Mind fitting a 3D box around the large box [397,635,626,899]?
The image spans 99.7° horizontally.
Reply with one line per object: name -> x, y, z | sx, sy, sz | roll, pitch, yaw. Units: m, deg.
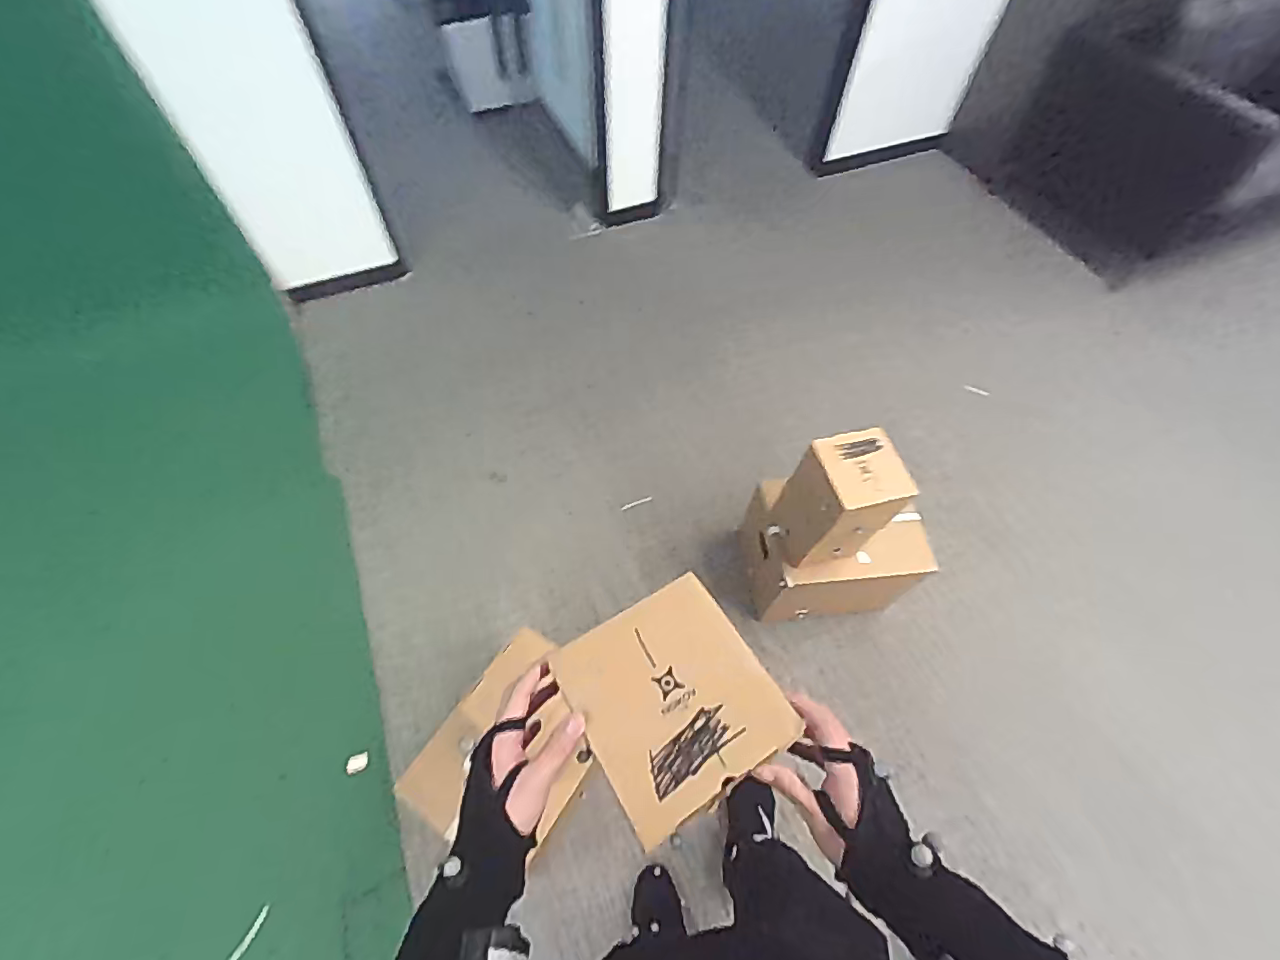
large box -> -0.262, 0.644, 1.259 | 0.320, 0.320, 0.408 | 29, 62, 17

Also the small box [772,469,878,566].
small box -> 0.445, 0.100, 1.334 | 0.168, 0.176, 0.179 | -11, 60, -9

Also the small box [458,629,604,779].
small box -> -0.177, 0.394, 0.936 | 0.179, 0.176, 0.168 | 31, 63, 15
